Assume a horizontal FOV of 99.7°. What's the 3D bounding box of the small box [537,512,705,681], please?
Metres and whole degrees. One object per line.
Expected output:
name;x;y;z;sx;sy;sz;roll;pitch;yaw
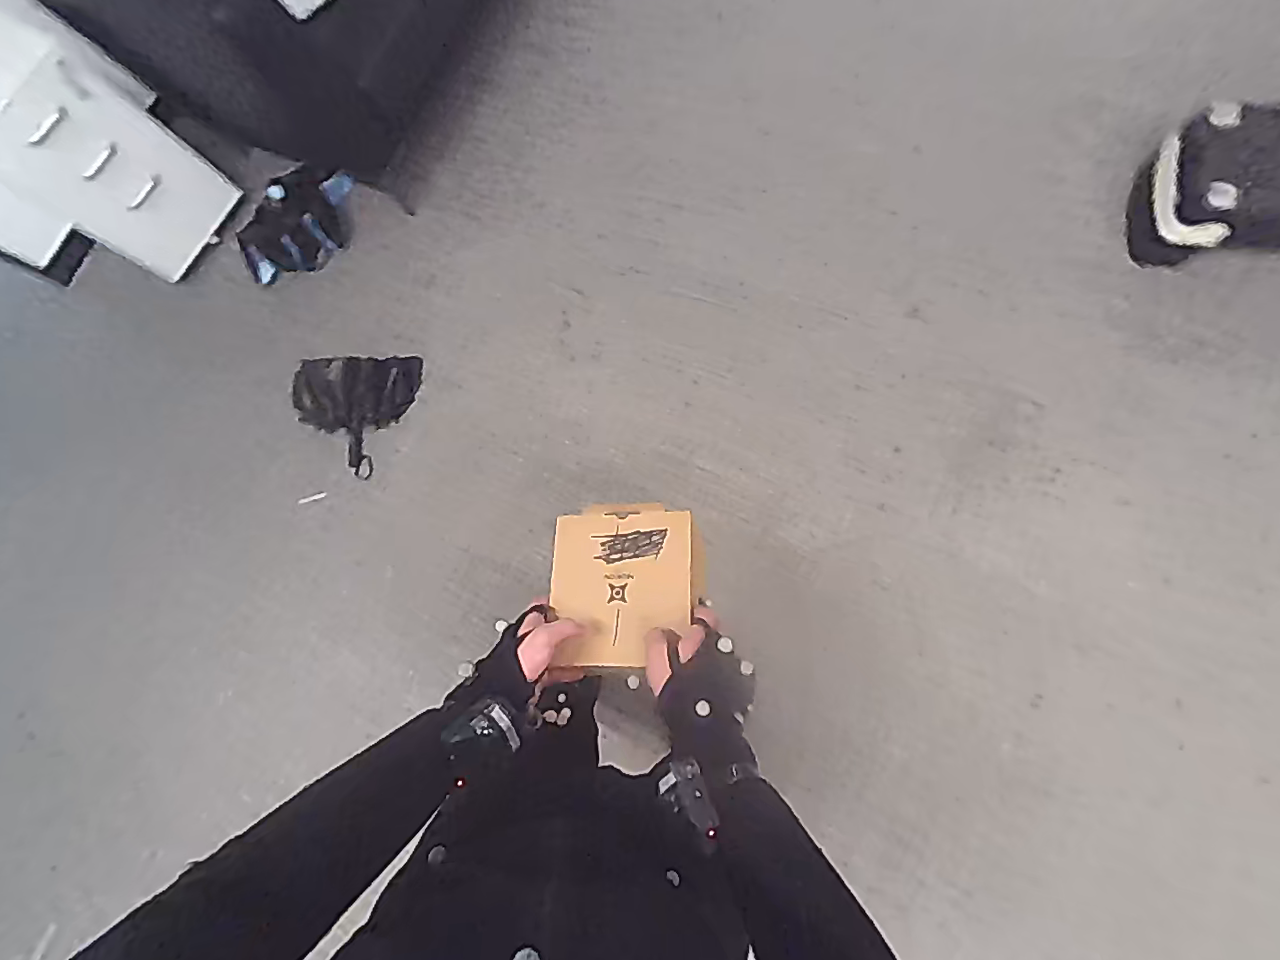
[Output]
small box;-0.012;0.152;0.675;0.168;0.176;0.179;-5;66;13
